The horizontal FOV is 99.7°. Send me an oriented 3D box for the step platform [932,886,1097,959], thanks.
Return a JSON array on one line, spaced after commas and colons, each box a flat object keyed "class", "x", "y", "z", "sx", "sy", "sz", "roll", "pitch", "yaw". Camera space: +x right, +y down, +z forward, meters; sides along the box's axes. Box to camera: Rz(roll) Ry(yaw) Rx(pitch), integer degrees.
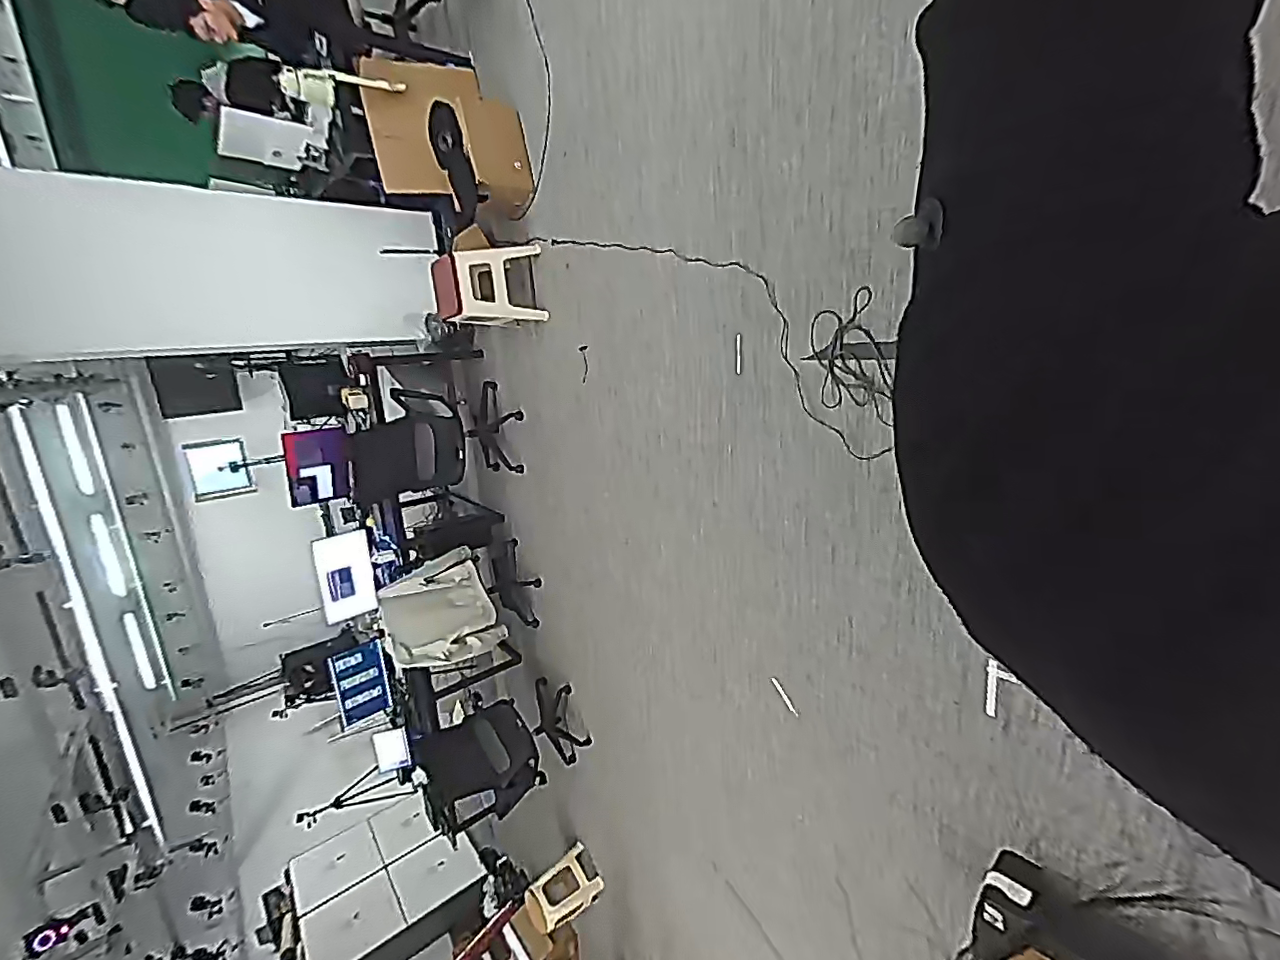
[{"class": "step platform", "x": 1.025, "y": 1.248, "z": 1.165, "sx": 0.684, "sy": 0.204, "sz": 0.286, "roll": 12, "pitch": 112, "yaw": 51}]
